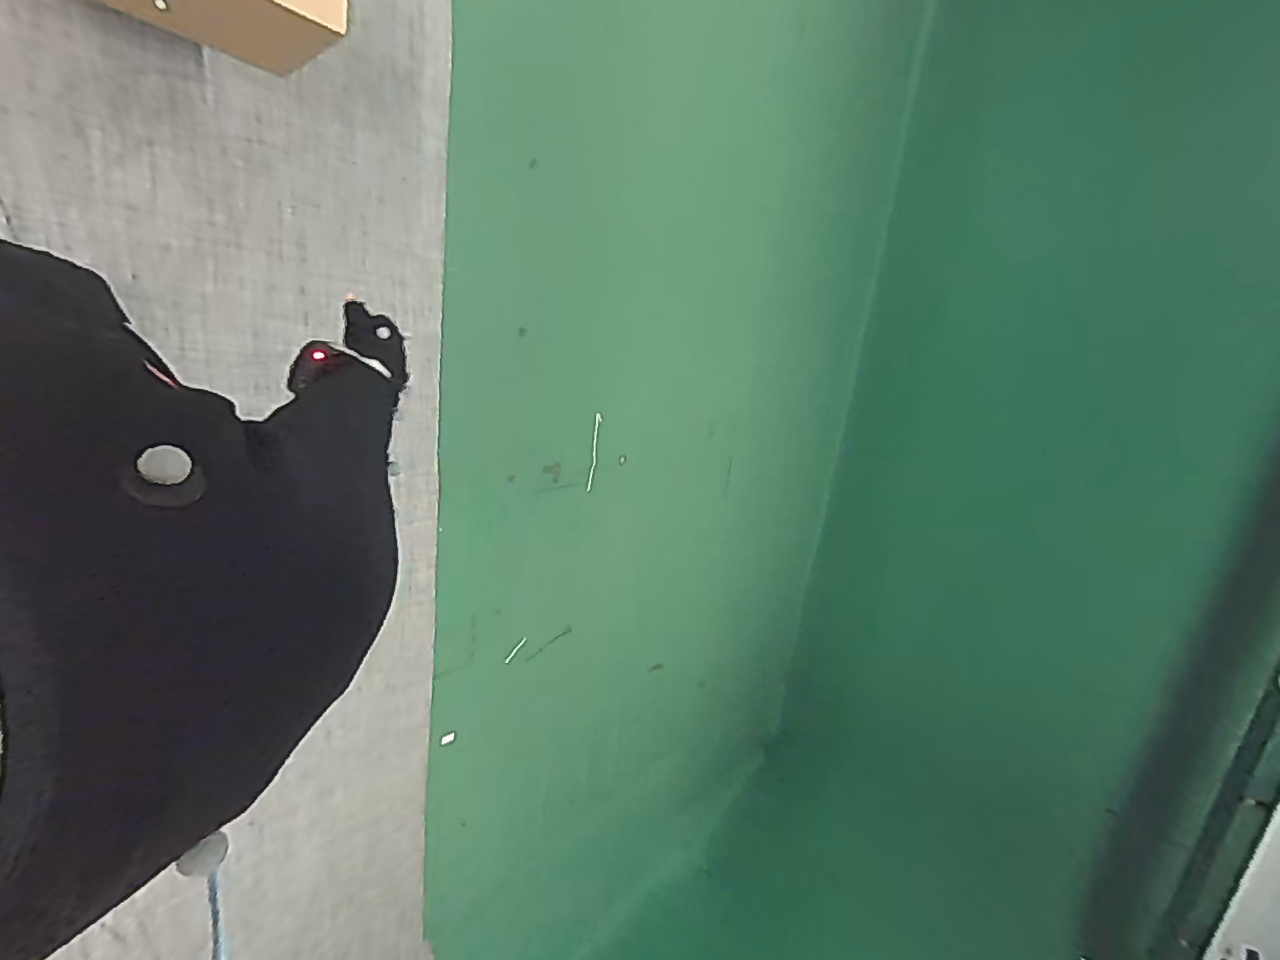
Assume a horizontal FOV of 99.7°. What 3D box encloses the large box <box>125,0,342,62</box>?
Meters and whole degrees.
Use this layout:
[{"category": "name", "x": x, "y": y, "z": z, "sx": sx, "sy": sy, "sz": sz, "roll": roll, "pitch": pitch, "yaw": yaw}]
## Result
[{"category": "large box", "x": -0.690, "y": -0.883, "z": 0.765, "sx": 0.408, "sy": 0.320, "sz": 0.320, "roll": -7, "pitch": 110, "yaw": -48}]
